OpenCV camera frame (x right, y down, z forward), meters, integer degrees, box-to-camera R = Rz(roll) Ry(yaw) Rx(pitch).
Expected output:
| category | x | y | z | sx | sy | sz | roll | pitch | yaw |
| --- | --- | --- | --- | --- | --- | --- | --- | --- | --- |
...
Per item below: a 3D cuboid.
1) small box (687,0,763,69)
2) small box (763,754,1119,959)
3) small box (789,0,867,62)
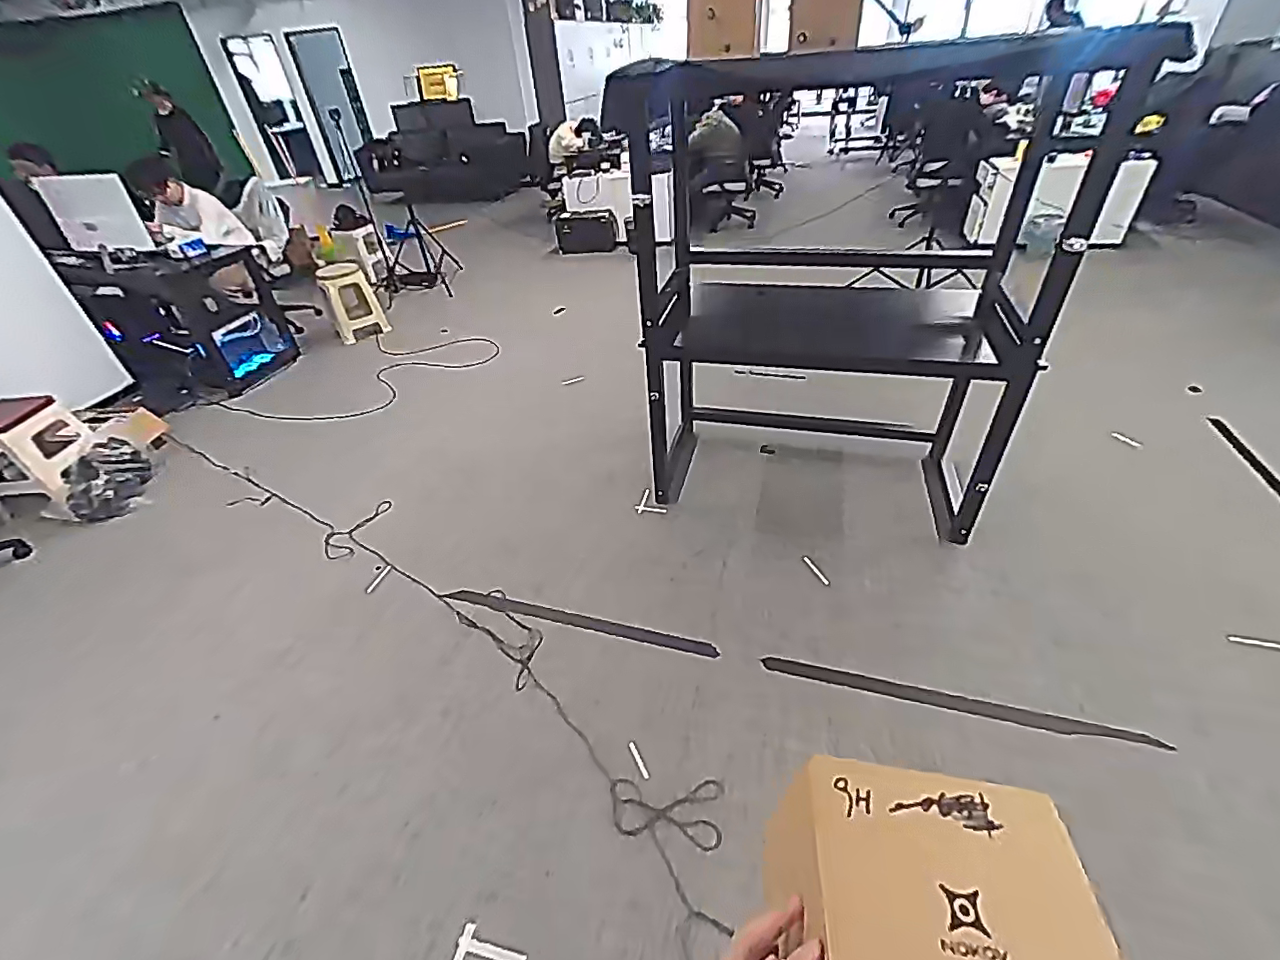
| category | x | y | z | sx | sy | sz | roll | pitch | yaw |
| --- | --- | --- | --- | --- | --- | --- | --- | --- | --- |
| small box | 0.214 | -1.135 | 1.343 | 0.168 | 0.176 | 0.179 | 8 | 38 | 14 |
| small box | 0.179 | 0.318 | 0.356 | 0.168 | 0.176 | 0.179 | 8 | 39 | 4 |
| small box | 0.454 | -1.122 | 1.298 | 0.168 | 0.176 | 0.179 | 8 | 37 | 16 |
